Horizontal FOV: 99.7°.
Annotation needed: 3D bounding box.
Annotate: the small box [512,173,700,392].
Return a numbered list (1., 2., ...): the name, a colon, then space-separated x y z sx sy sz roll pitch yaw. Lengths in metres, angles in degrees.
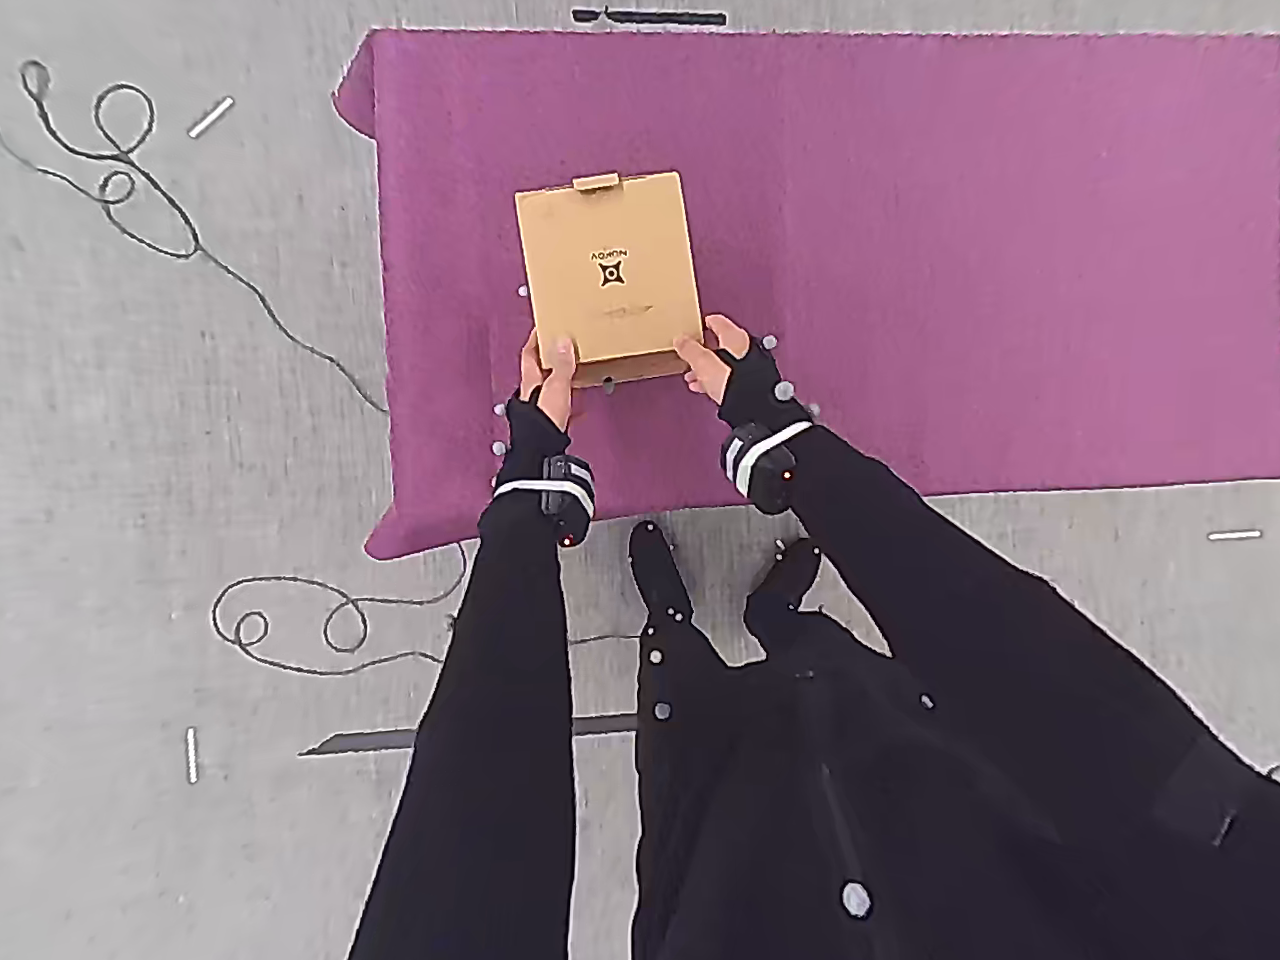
1. small box: -0.037 -0.206 0.605 0.168 0.176 0.179 -9 92 -3
